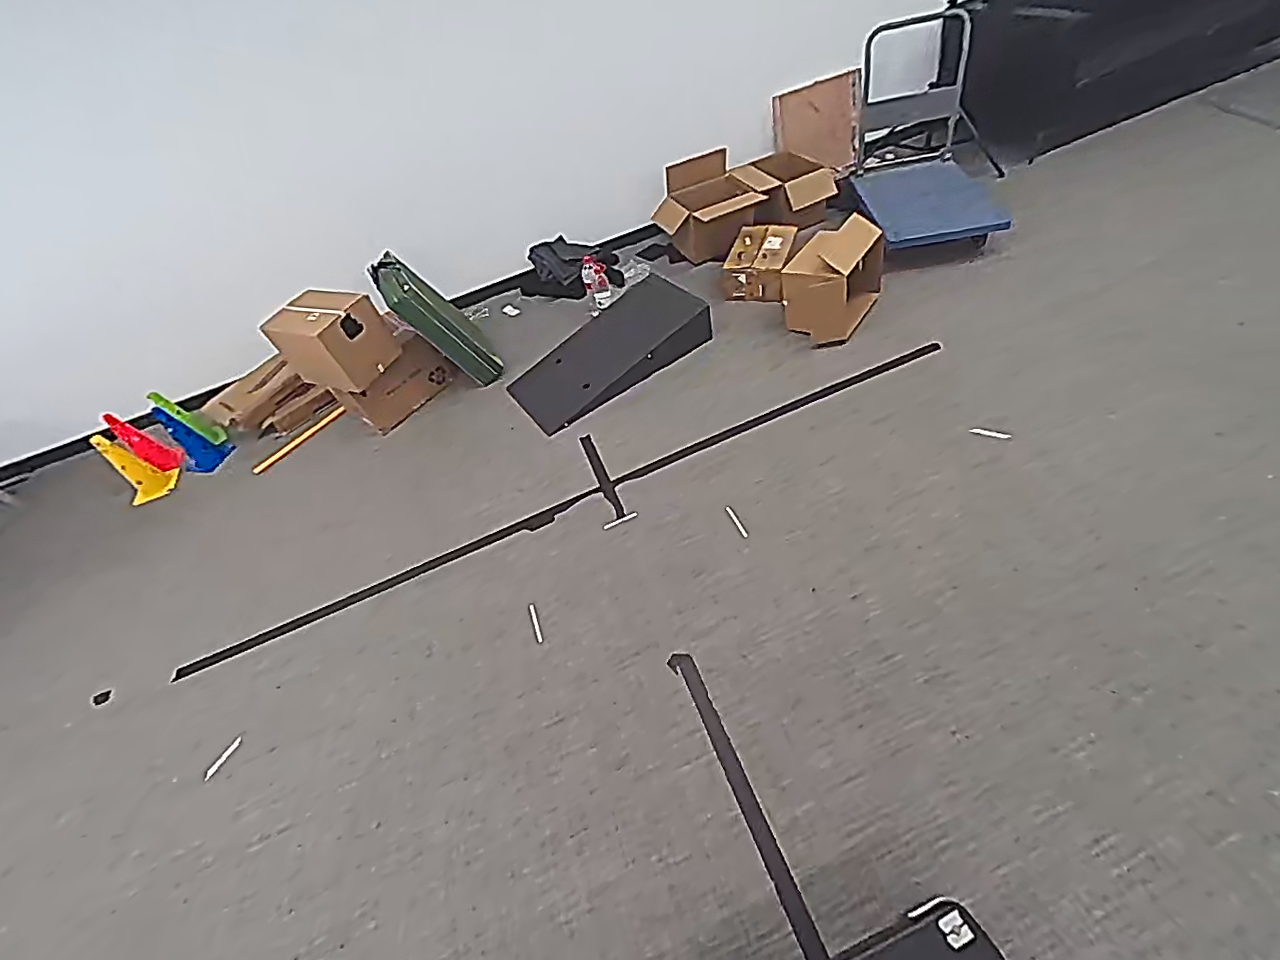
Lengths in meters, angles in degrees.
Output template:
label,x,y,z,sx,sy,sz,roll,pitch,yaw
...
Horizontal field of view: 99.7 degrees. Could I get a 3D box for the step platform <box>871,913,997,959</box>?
label,x,y,z,sx,sy,sz,roll,pitch,yaw
step platform,0.412,1.122,1.004,0.684,0.204,0.286,-23,49,-7
